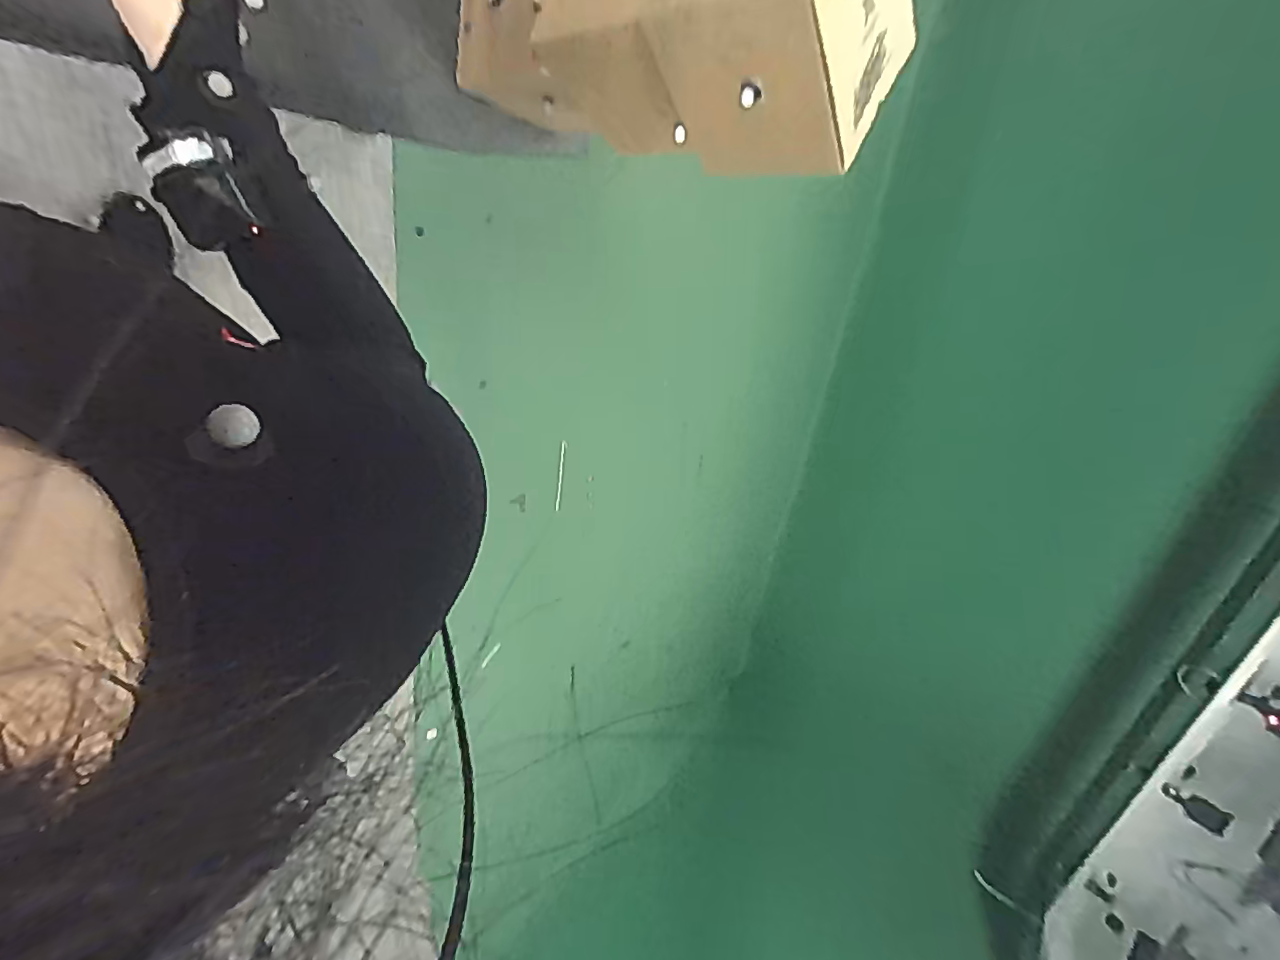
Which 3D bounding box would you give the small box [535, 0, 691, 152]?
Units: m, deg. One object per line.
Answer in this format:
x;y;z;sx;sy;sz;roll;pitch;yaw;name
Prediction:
0.014;-0.493;0.601;0.179;0.176;0.168;22;92;-55;small box

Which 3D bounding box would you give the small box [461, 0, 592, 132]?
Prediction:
-0.107;-0.562;0.687;0.179;0.176;0.168;-11;118;-48;small box

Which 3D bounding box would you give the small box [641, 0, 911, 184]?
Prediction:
0.133;-0.416;0.513;0.168;0.176;0.179;-61;144;-7;small box
